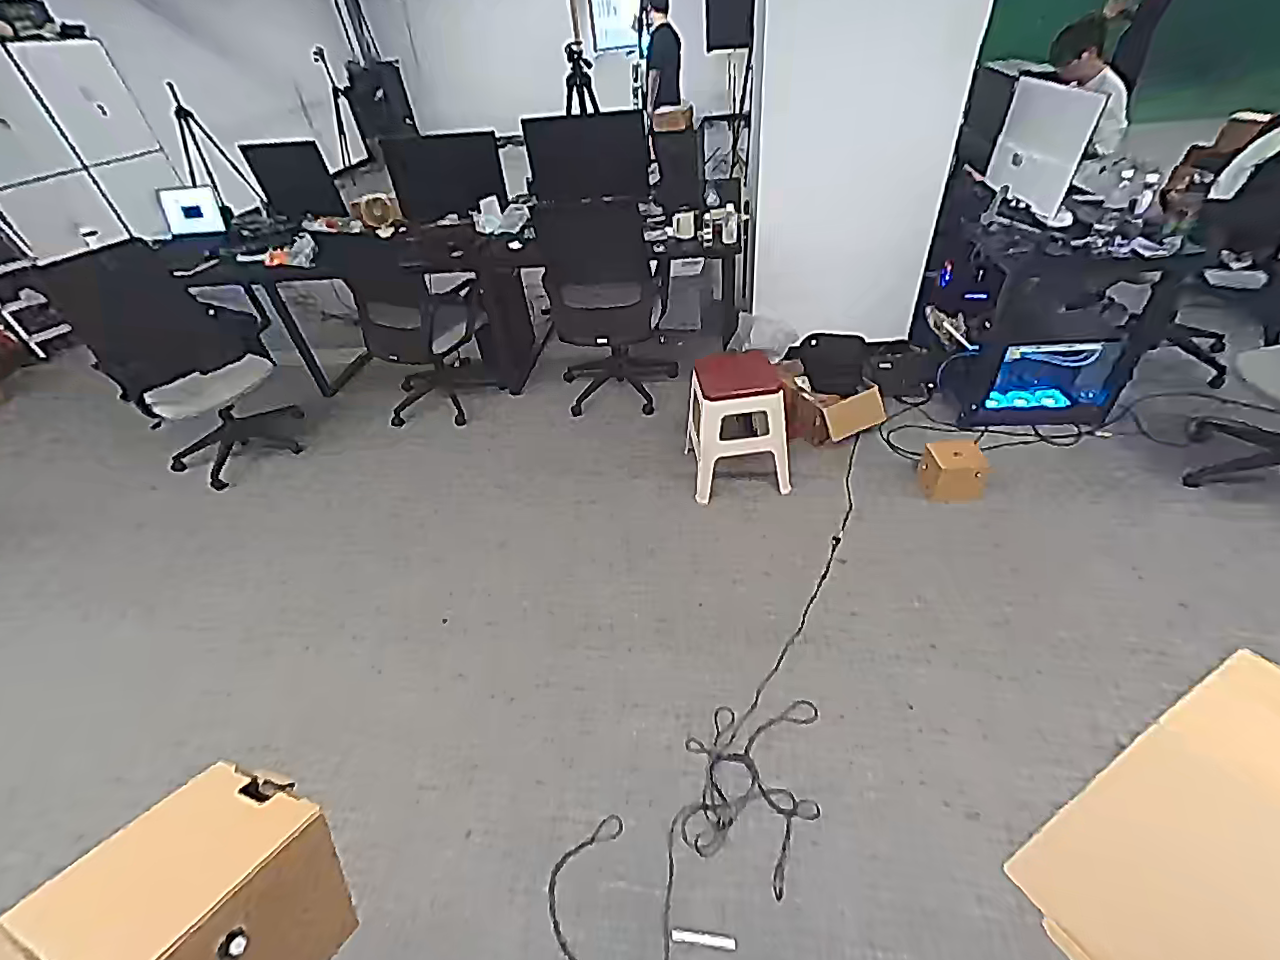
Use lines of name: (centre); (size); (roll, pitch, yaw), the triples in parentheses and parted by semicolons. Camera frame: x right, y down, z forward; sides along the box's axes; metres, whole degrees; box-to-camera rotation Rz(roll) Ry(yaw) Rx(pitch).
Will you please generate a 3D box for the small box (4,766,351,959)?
small box: (-0.410, 0.419, 0.507); (0.168, 0.176, 0.179); (4, 18, 23)
